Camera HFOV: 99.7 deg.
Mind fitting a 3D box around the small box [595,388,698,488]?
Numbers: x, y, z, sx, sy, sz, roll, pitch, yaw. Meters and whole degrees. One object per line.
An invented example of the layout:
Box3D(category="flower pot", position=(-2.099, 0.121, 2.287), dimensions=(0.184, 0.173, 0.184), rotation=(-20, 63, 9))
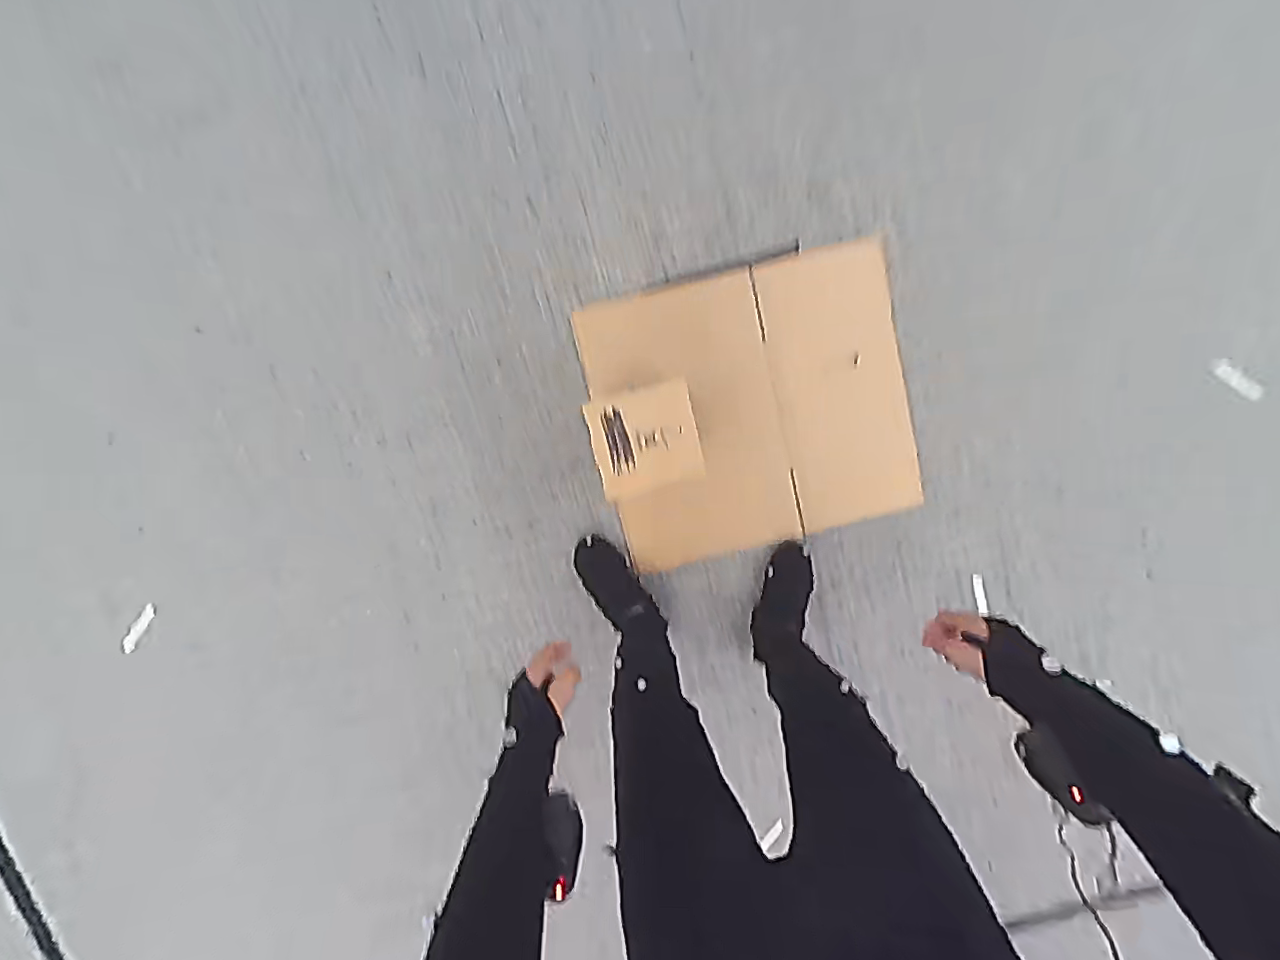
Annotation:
Box3D(category="small box", position=(0.009, -0.094, 1.133), dimensions=(0.179, 0.176, 0.168), rotation=(-14, 98, 0))
